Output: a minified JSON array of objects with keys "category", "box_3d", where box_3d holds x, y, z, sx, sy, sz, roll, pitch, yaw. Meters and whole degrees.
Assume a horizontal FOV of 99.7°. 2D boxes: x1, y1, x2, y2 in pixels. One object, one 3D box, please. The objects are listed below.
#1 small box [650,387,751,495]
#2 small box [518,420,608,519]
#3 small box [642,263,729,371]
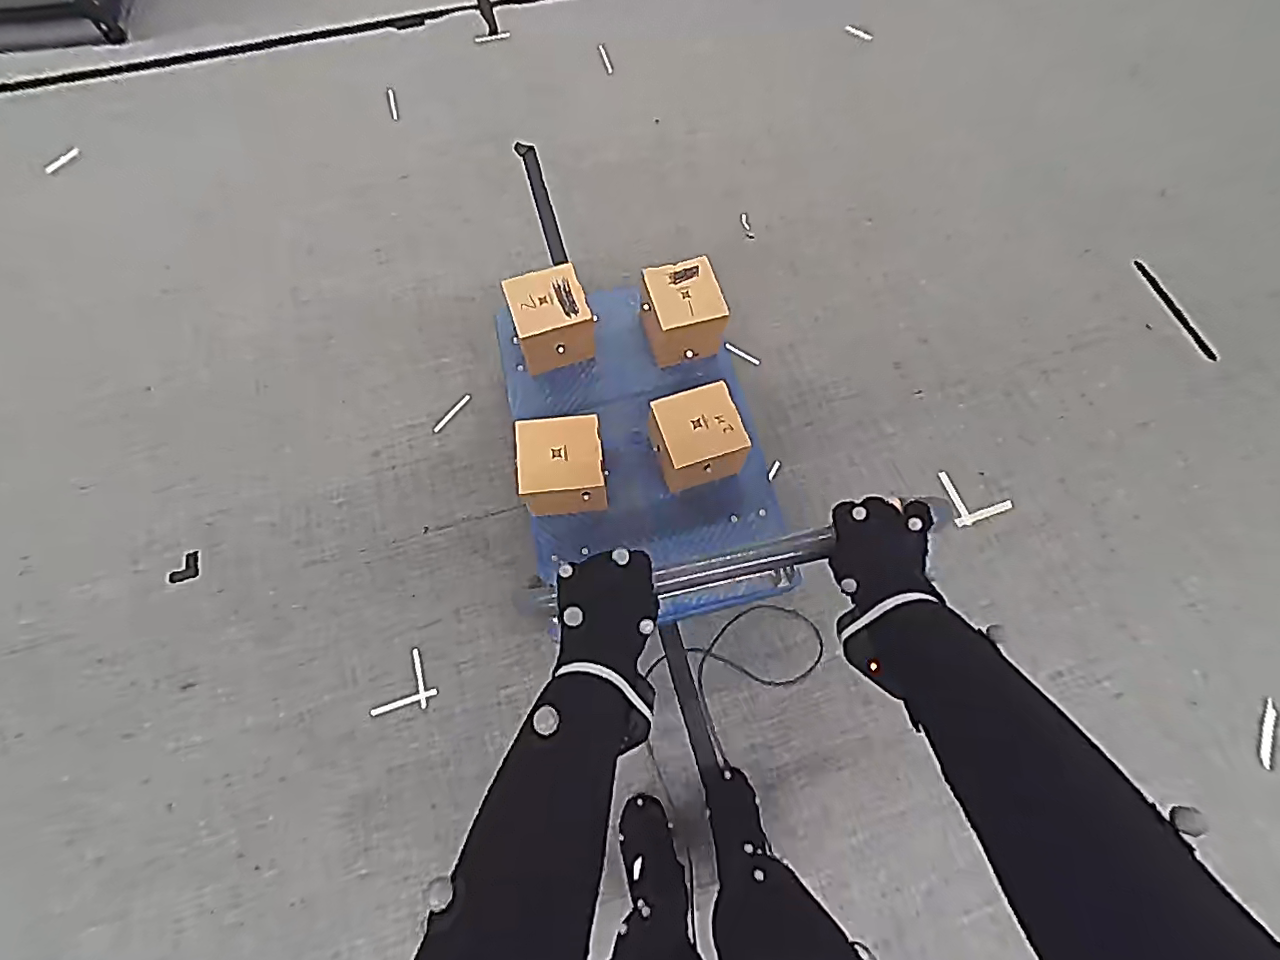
[{"category":"small box","box_3d":[0.130,-0.082,1.232,0.179,0.176,0.168,-17,72,-7]},{"category":"small box","box_3d":[-0.167,-0.017,1.202,0.179,0.176,0.168,-6,71,-5]},{"category":"small box","box_3d":[0.105,-0.400,1.344,0.168,0.176,0.179,-15,72,-7]}]
